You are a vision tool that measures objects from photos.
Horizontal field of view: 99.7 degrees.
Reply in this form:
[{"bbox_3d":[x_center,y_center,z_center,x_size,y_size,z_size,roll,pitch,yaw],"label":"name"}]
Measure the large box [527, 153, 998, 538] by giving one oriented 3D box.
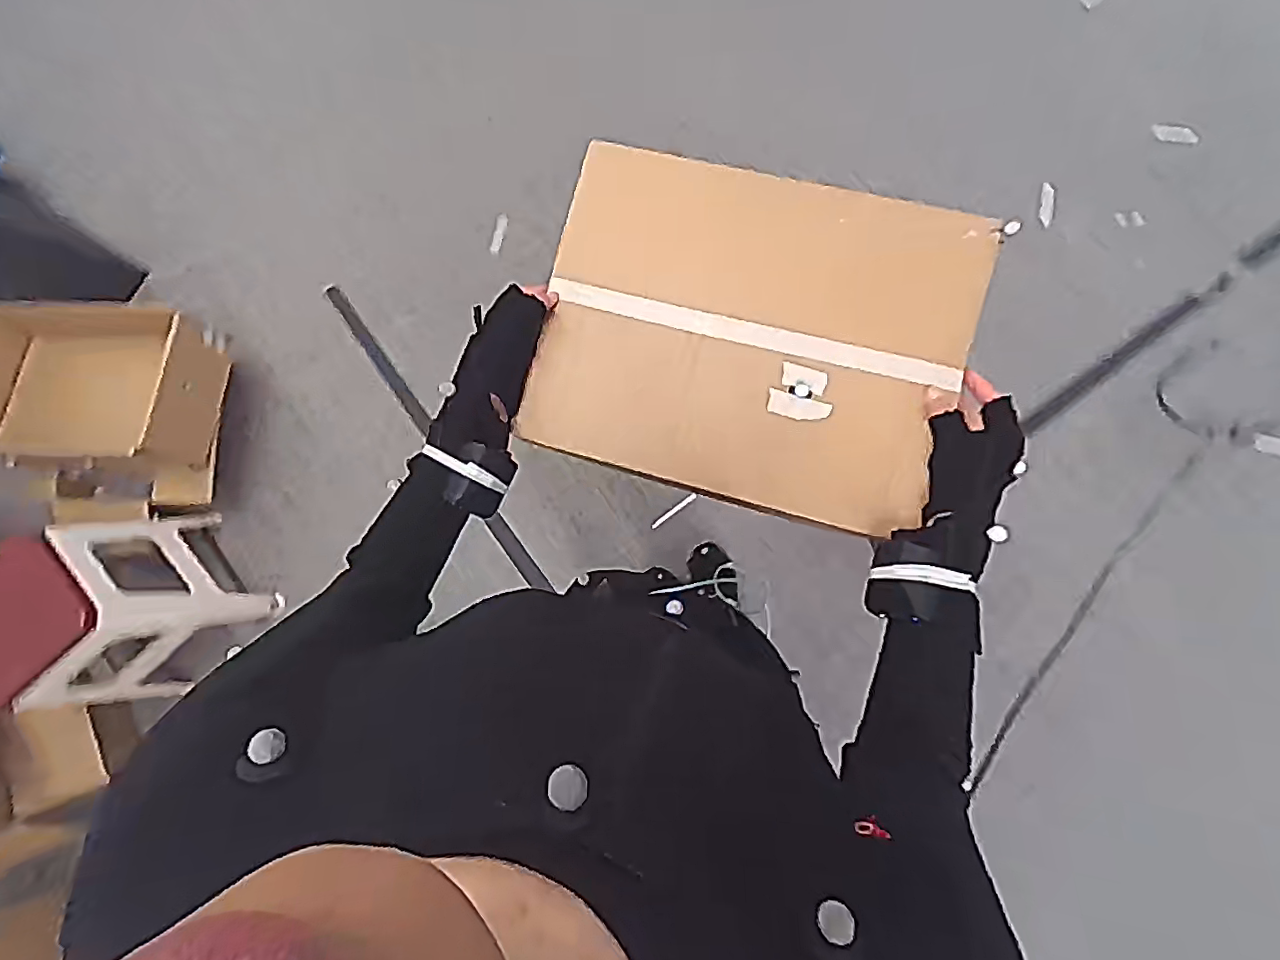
[{"bbox_3d":[0.127,-0.137,0.684,0.408,0.320,0.320,17,91,8],"label":"large box"}]
